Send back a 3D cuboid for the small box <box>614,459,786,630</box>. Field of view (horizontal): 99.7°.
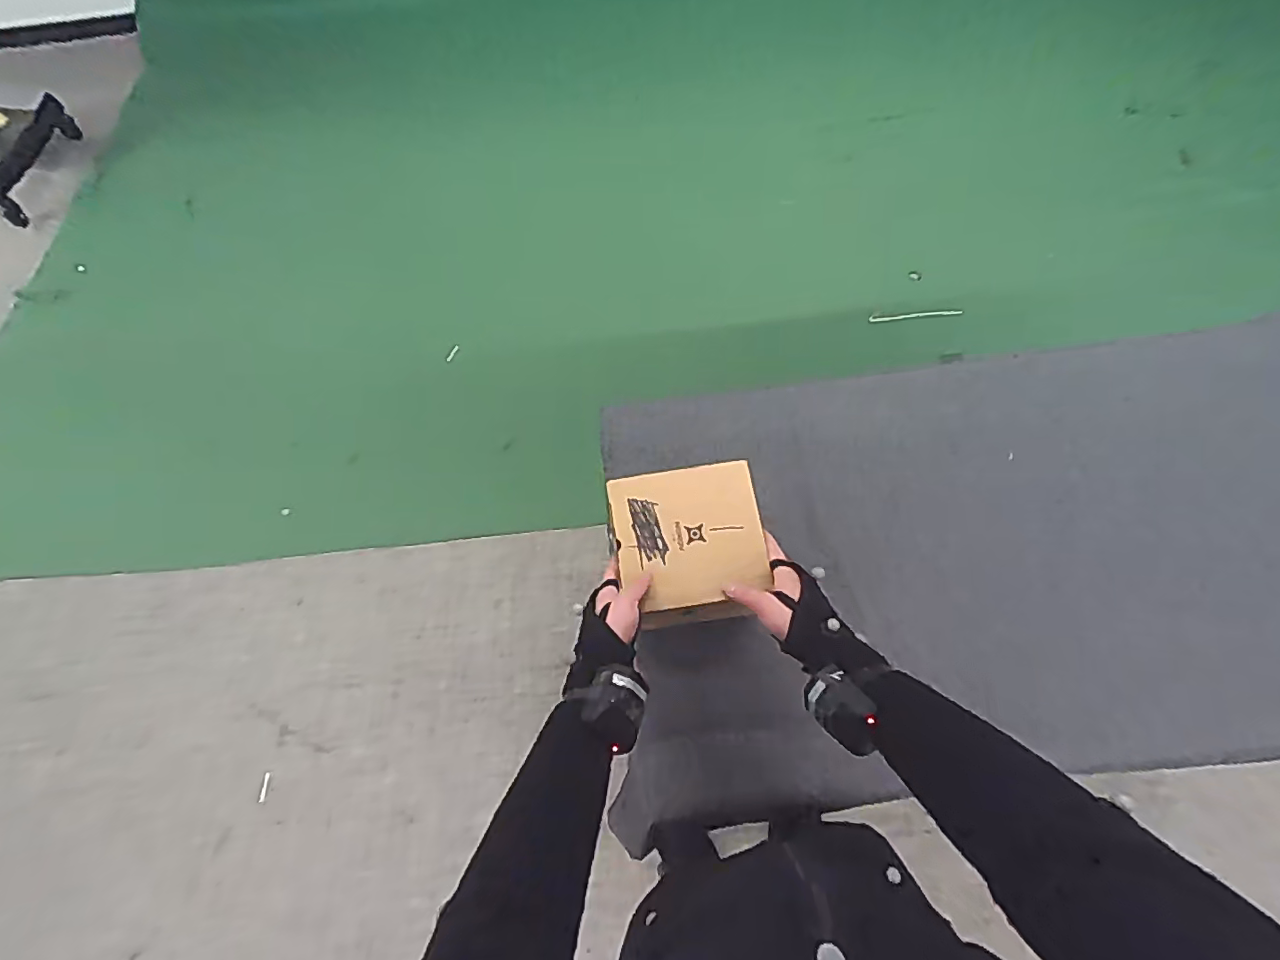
[{"bbox_3d":[0.066,0.090,0.694,0.179,0.176,0.168,-7,68,-4],"label":"small box"}]
